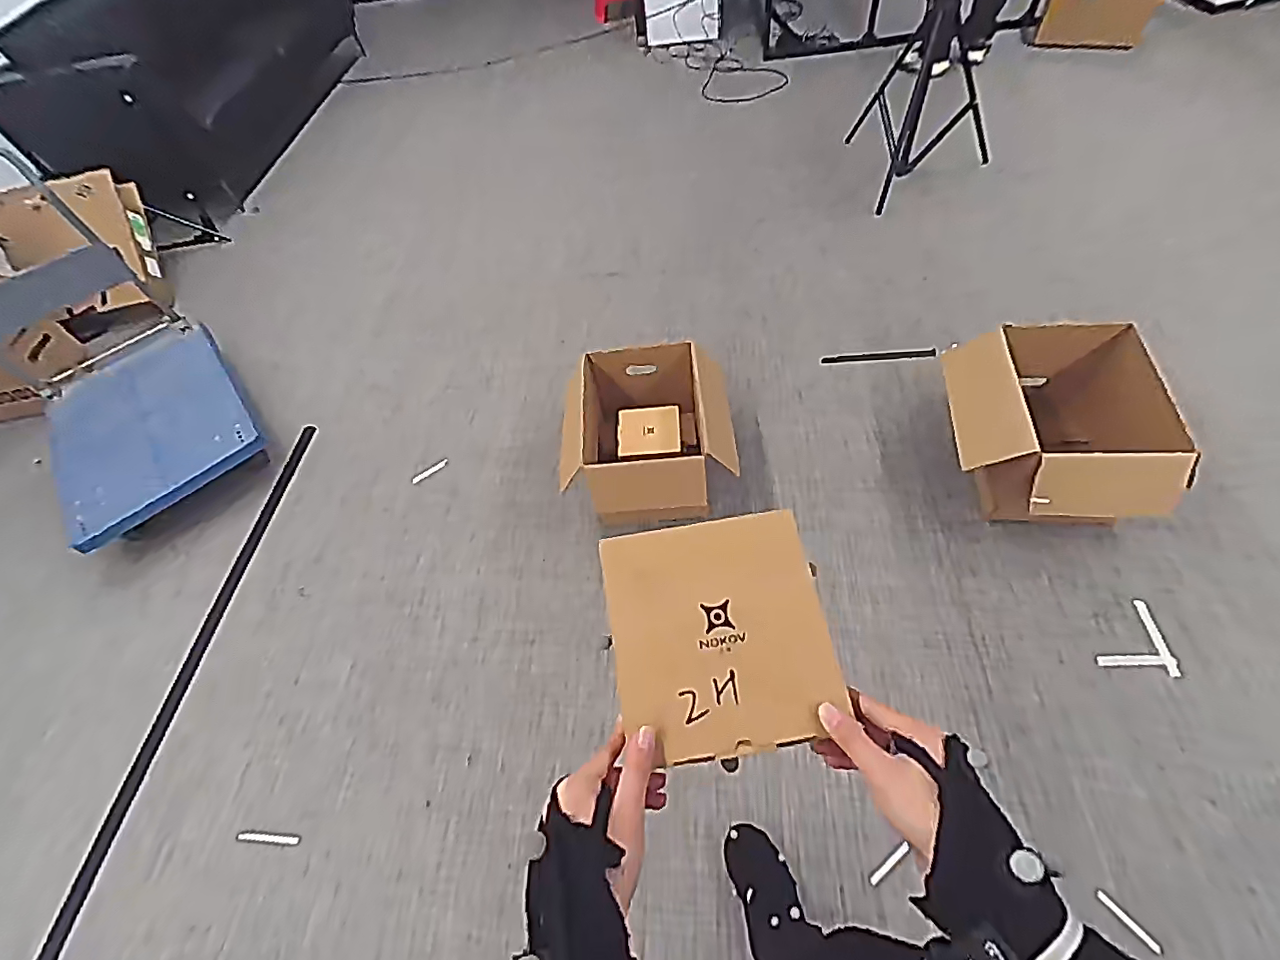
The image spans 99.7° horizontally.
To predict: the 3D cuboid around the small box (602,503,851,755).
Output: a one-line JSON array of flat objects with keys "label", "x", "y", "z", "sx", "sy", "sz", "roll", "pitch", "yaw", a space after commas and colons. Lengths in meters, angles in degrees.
[{"label": "small box", "x": 0.061, "y": 0.141, "z": 0.491, "sx": 0.168, "sy": 0.176, "sz": 0.179, "roll": -9, "pitch": 65, "yaw": -2}]
